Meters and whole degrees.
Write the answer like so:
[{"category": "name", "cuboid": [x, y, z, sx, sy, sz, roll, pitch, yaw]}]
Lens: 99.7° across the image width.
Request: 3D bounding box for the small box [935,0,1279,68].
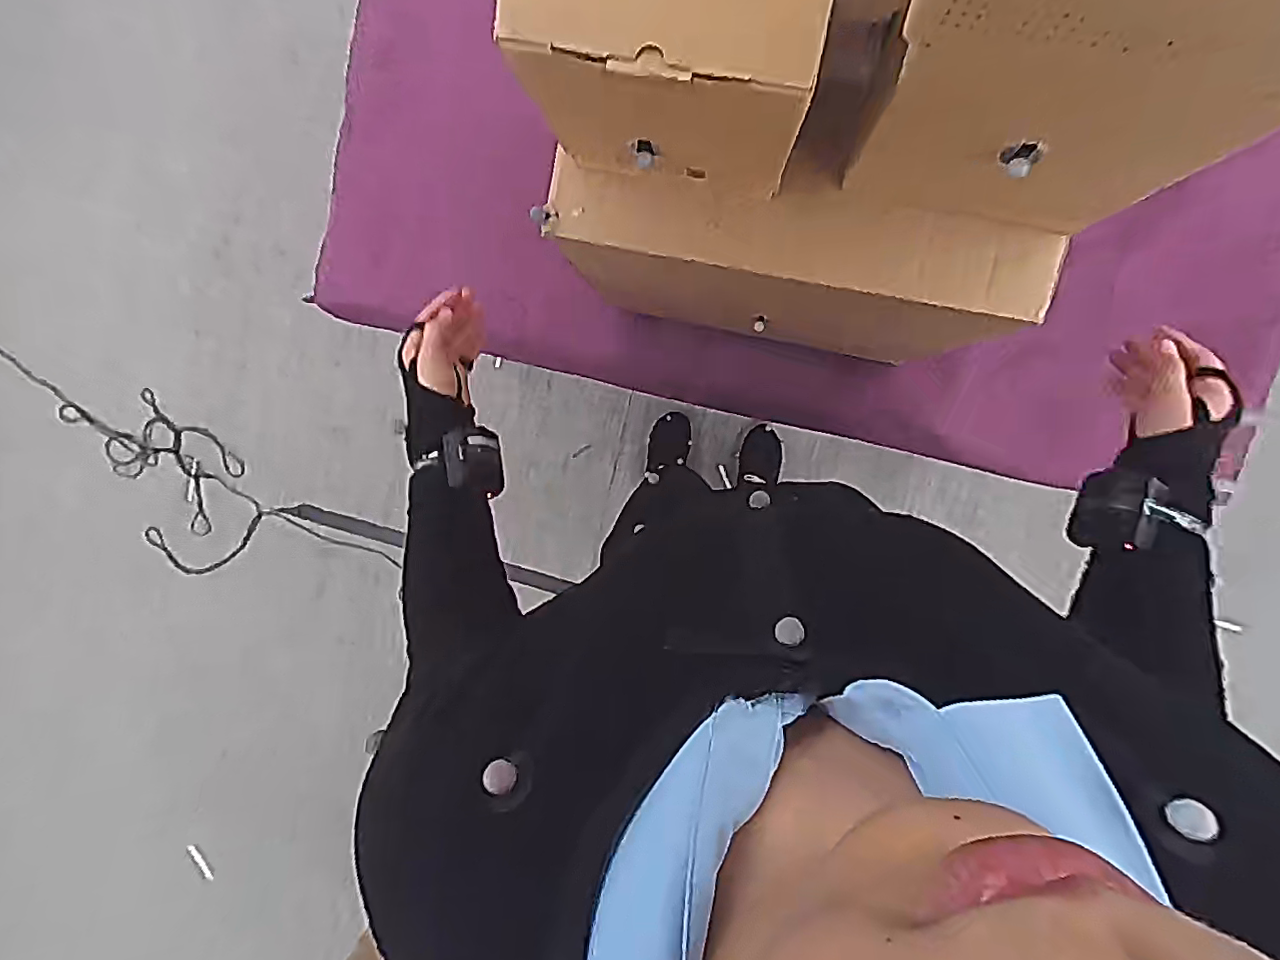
[{"category": "small box", "cuboid": [0.213, -0.257, 0.147, 0.179, 0.176, 0.168, 14, 98, 6]}]
